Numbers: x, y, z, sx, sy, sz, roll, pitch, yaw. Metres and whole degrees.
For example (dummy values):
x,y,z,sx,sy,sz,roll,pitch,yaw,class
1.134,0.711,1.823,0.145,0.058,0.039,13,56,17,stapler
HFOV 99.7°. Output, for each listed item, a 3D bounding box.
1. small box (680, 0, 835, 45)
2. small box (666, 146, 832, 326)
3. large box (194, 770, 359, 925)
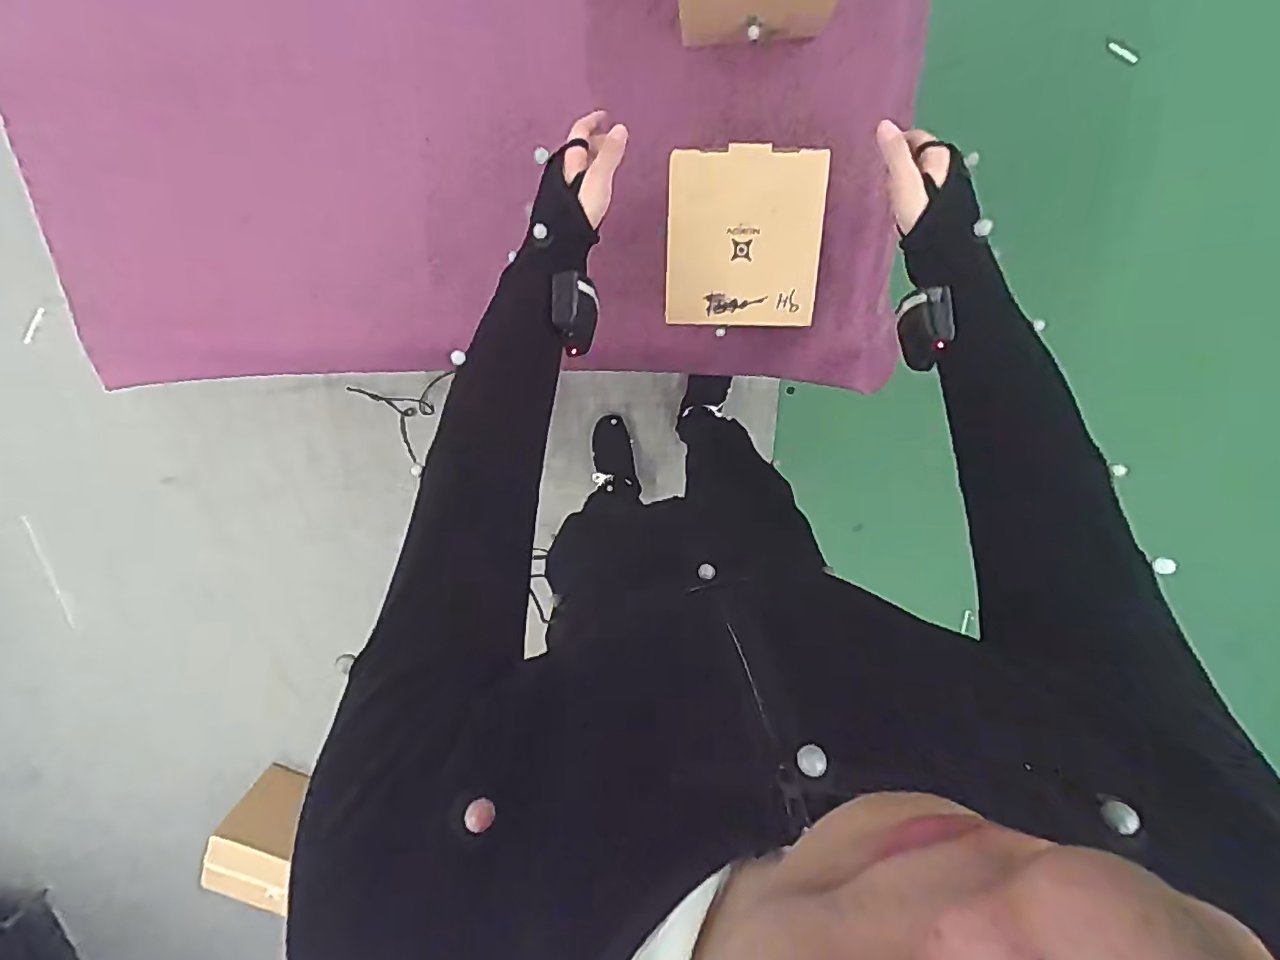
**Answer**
x,y,z,sx,sy,sz,roll,pitch,yaw,class
0.123,-0.581,0.544,0.168,0.176,0.179,1,110,7,small box
0.119,-0.281,0.654,0.168,0.176,0.179,3,108,4,small box
-1.387,1.404,2.086,0.408,0.320,0.320,23,110,-5,large box
